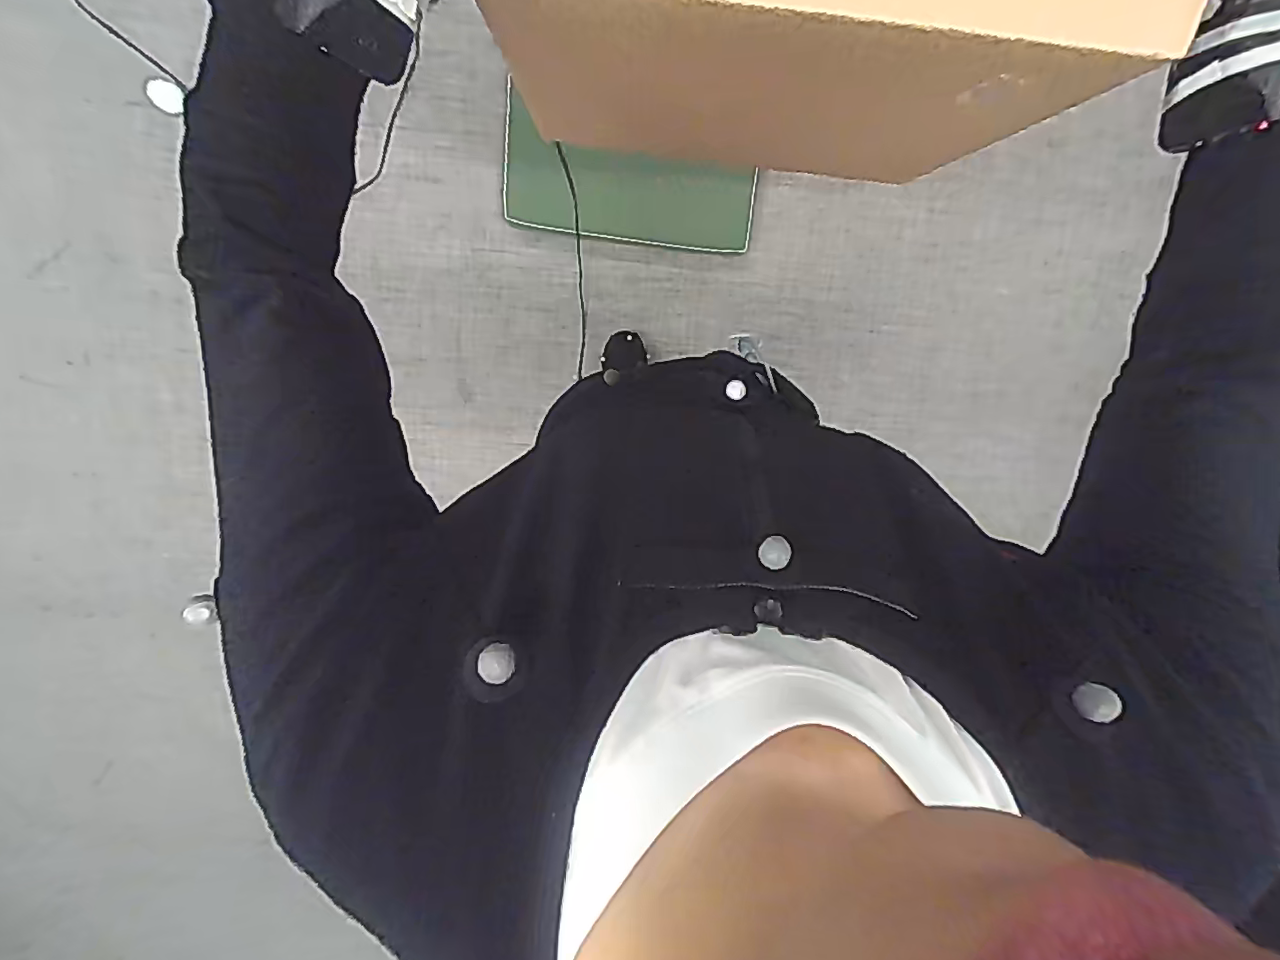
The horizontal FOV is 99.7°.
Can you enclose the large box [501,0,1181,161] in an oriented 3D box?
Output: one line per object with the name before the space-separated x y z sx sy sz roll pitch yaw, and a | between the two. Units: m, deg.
large box | 0.112 -0.459 0.394 0.408 0.320 0.320 4 108 -4
